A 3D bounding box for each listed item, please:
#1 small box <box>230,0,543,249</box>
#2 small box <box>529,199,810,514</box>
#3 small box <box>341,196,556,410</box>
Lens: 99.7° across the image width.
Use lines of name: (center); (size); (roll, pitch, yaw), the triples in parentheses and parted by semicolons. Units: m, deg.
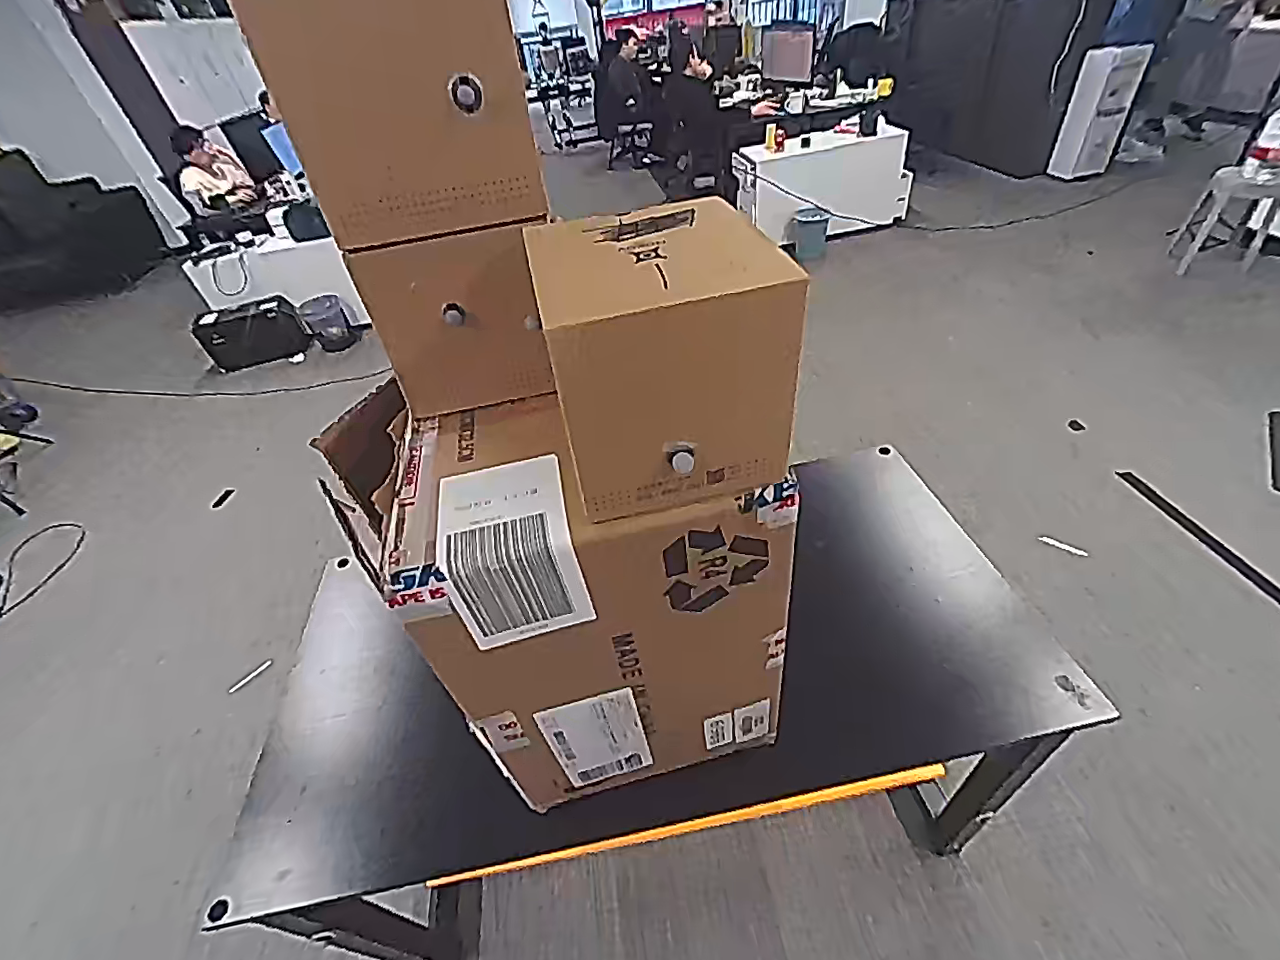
small box: (-0.186, -0.313, 0.453); (0.179, 0.176, 0.168); (-15, 39, -7)
small box: (0.013, -0.101, 0.432); (0.168, 0.176, 0.179); (-13, 43, -5)
small box: (-0.169, -0.192, 0.561); (0.179, 0.176, 0.168); (-14, 40, -5)
